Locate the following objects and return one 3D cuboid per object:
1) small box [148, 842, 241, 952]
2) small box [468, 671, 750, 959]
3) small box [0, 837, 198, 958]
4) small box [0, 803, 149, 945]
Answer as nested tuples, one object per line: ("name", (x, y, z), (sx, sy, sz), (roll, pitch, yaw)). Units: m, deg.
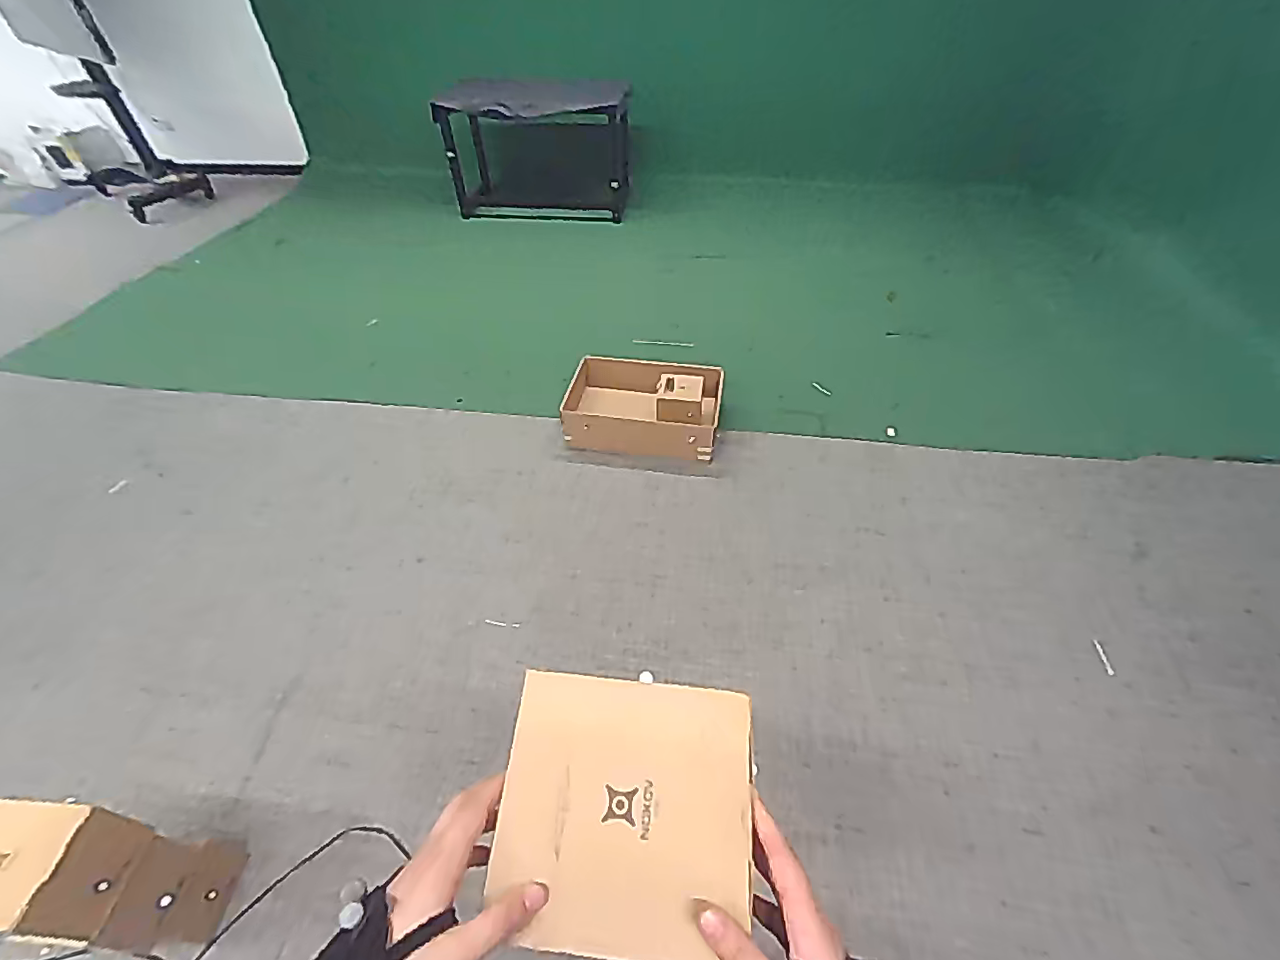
("small box", (-0.998, 0.875, 1.137), (0.179, 0.176, 0.168), (-1, 45, 1))
("small box", (-0.011, 0.265, 0.438), (0.179, 0.176, 0.168), (4, 58, 5))
("small box", (-0.998, 0.773, 1.008), (0.179, 0.176, 0.168), (2, 46, 3))
("small box", (-0.996, 0.654, 0.896), (0.179, 0.176, 0.168), (2, 46, 2))
